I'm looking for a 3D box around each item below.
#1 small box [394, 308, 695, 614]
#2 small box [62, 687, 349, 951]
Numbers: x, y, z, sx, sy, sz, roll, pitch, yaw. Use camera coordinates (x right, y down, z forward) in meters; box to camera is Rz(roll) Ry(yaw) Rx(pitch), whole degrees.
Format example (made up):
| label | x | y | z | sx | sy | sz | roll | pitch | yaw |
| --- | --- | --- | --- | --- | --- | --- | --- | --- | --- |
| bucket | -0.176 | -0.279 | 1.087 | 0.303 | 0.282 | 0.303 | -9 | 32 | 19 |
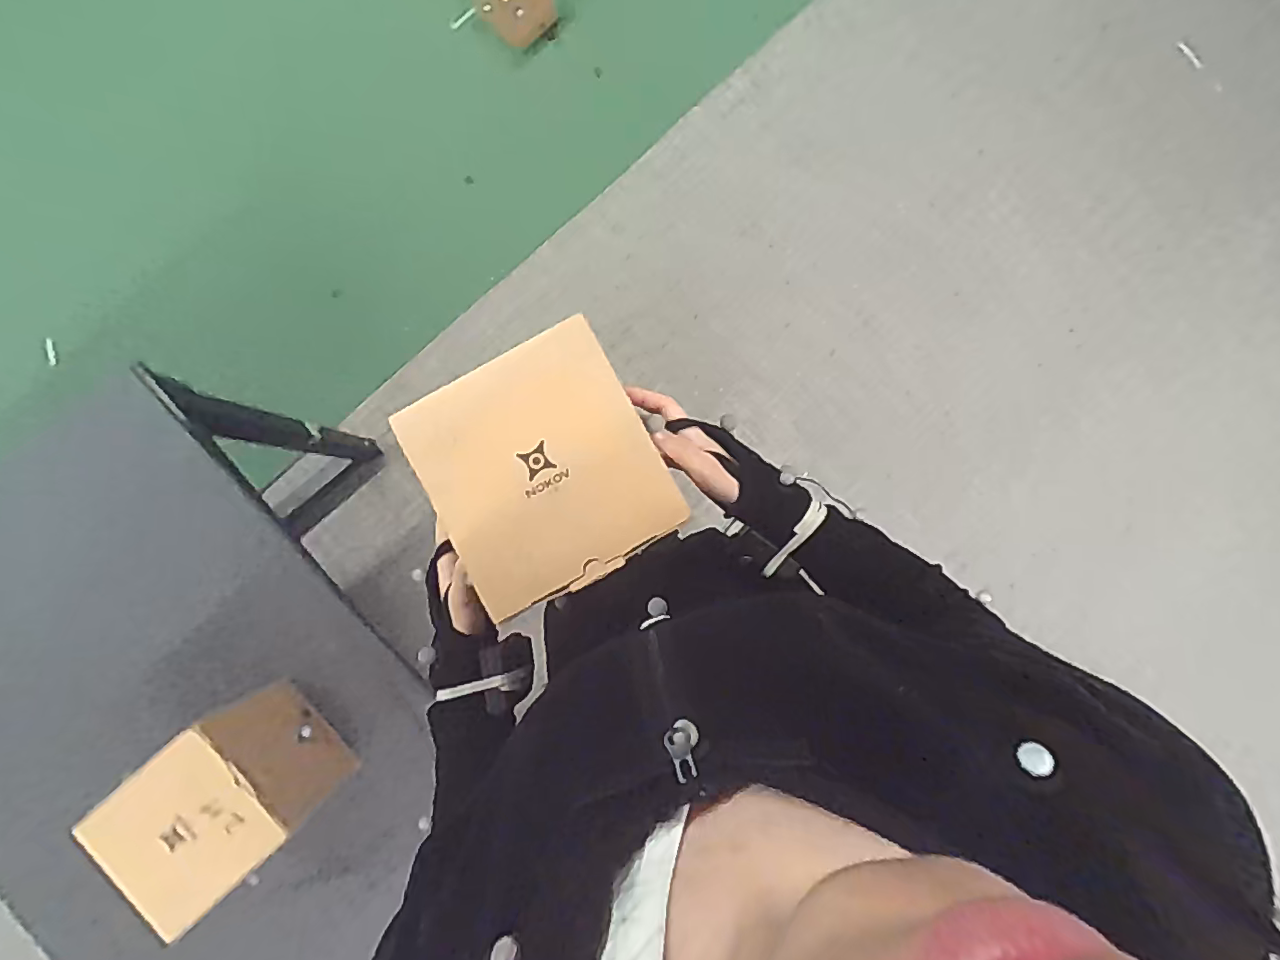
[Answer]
| label | x | y | z | sx | sy | sz | roll | pitch | yaw |
| --- | --- | --- | --- | --- | --- | --- | --- | --- | --- |
| small box | -0.069 | -0.010 | 0.469 | 0.168 | 0.176 | 0.179 | -28 | 87 | 0 |
| small box | -0.507 | 0.393 | 0.662 | 0.179 | 0.176 | 0.168 | -42 | 90 | -3 |
